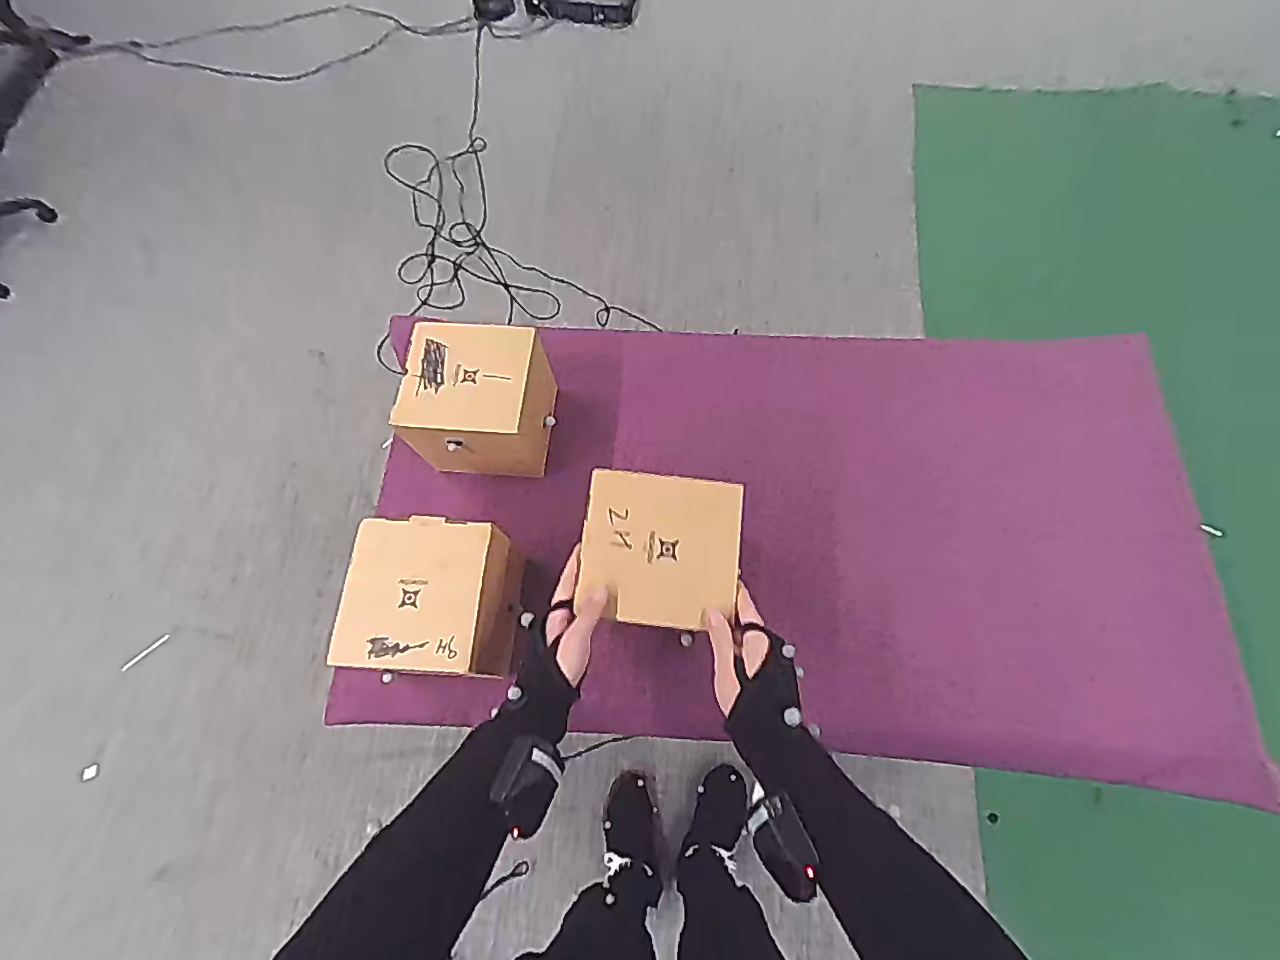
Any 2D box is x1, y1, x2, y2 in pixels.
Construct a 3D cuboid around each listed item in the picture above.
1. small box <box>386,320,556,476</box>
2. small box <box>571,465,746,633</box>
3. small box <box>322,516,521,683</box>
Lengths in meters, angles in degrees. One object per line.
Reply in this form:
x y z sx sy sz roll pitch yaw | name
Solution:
-0.233 -0.113 0.796 0.179 0.176 0.168 4 71 3 | small box
0.023 0.091 0.665 0.179 0.176 0.168 6 75 3 | small box
-0.261 0.159 0.695 0.168 0.176 0.179 2 68 5 | small box
